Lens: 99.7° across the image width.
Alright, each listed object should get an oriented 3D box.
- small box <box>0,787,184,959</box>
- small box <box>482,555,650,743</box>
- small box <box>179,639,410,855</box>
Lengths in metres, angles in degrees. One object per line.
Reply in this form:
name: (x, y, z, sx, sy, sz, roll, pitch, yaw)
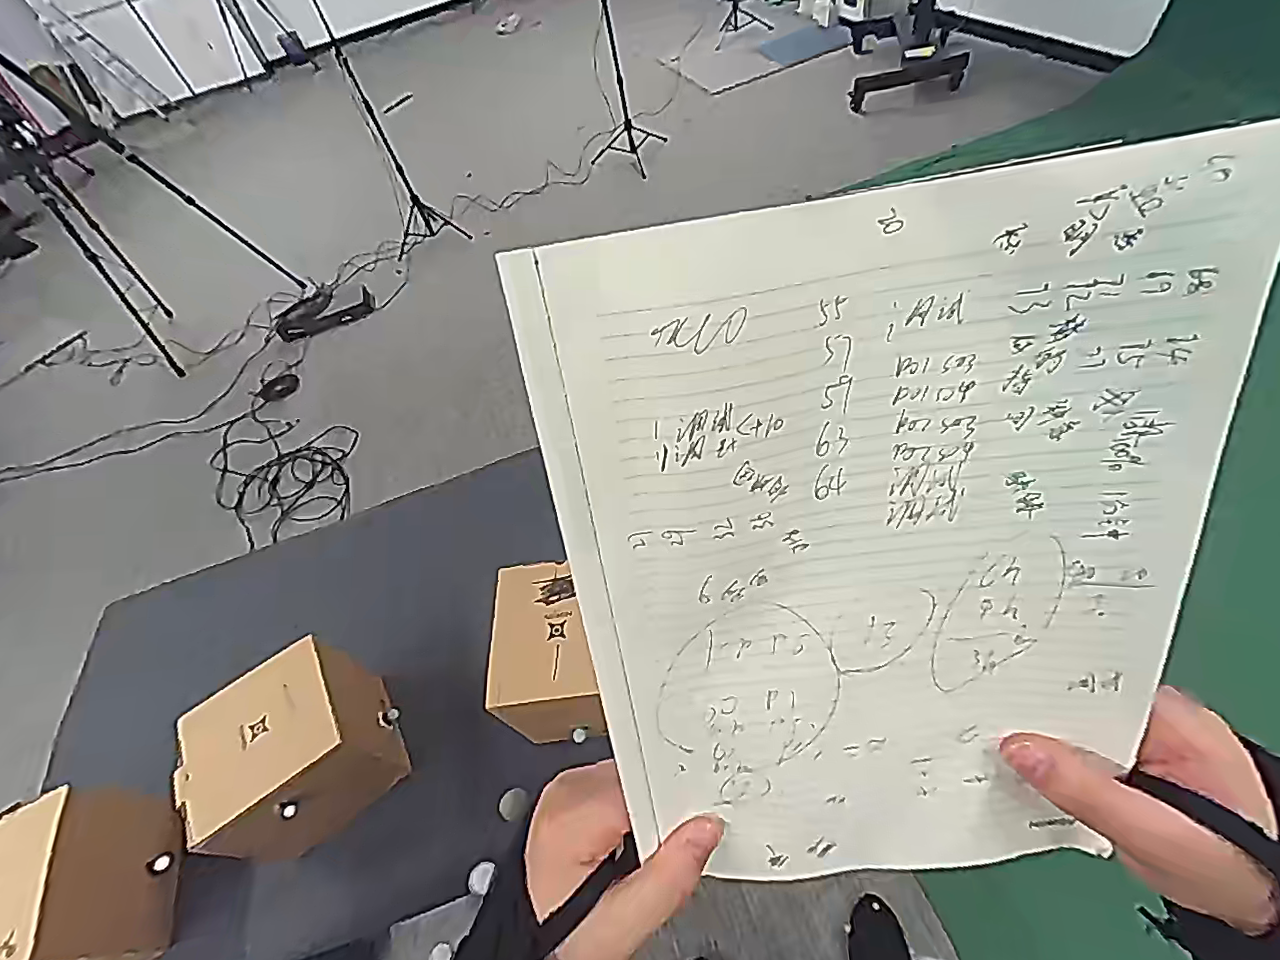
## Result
small box: (-0.691, 0.502, 0.637, 0.168, 0.176, 0.179, -25, 52, -7)
small box: (-0.085, 0.223, 0.703, 0.168, 0.176, 0.179, -10, 51, 7)
small box: (-0.436, 0.348, 0.698, 0.179, 0.176, 0.168, -34, 54, -15)
